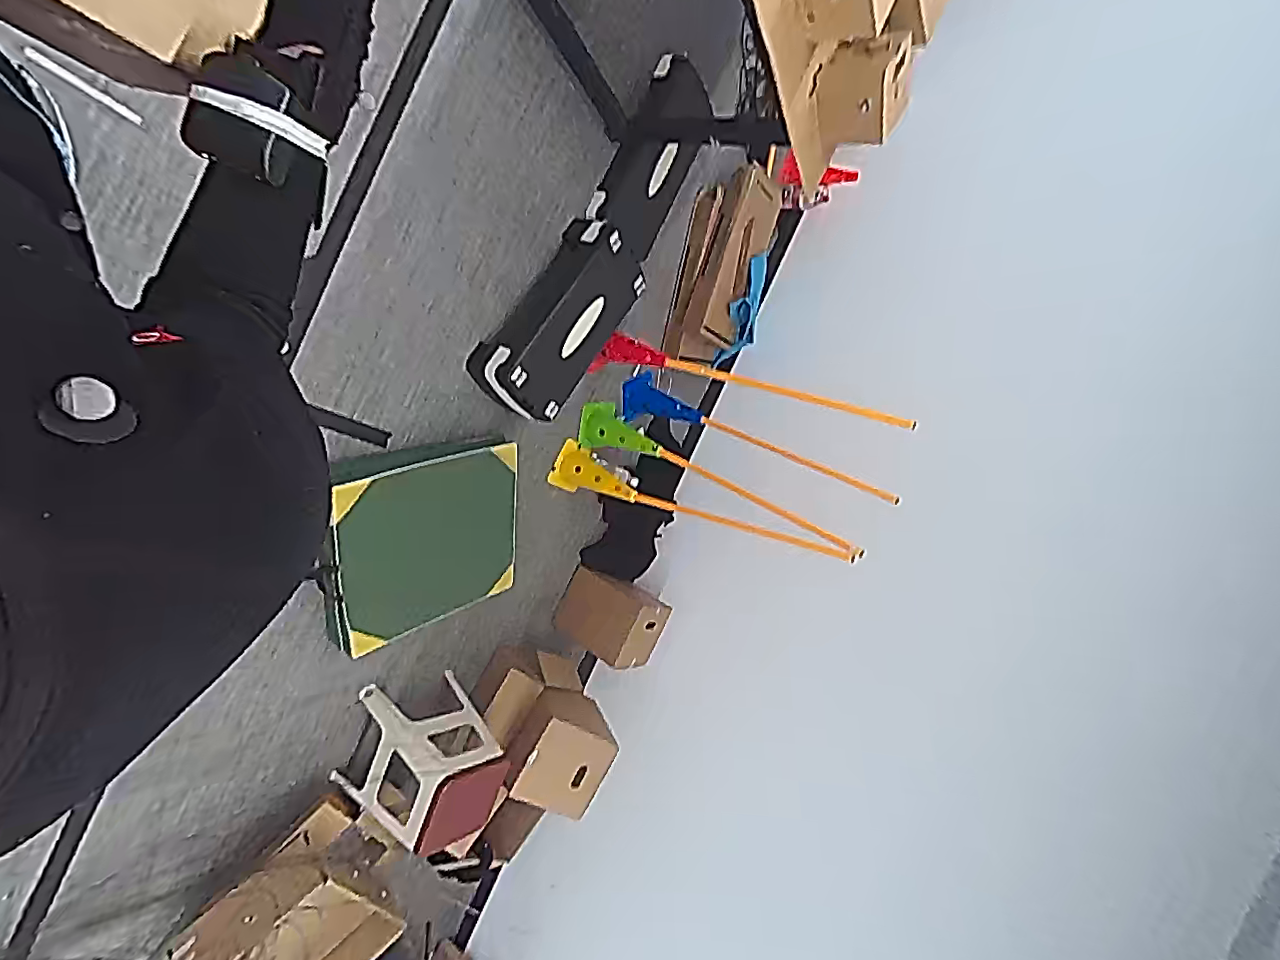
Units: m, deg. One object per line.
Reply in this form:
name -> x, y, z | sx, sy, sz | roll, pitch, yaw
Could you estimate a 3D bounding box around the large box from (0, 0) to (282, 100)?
large box -> -0.443, -0.490, 0.283 | 0.408, 0.320, 0.320 | 10, 107, -58
